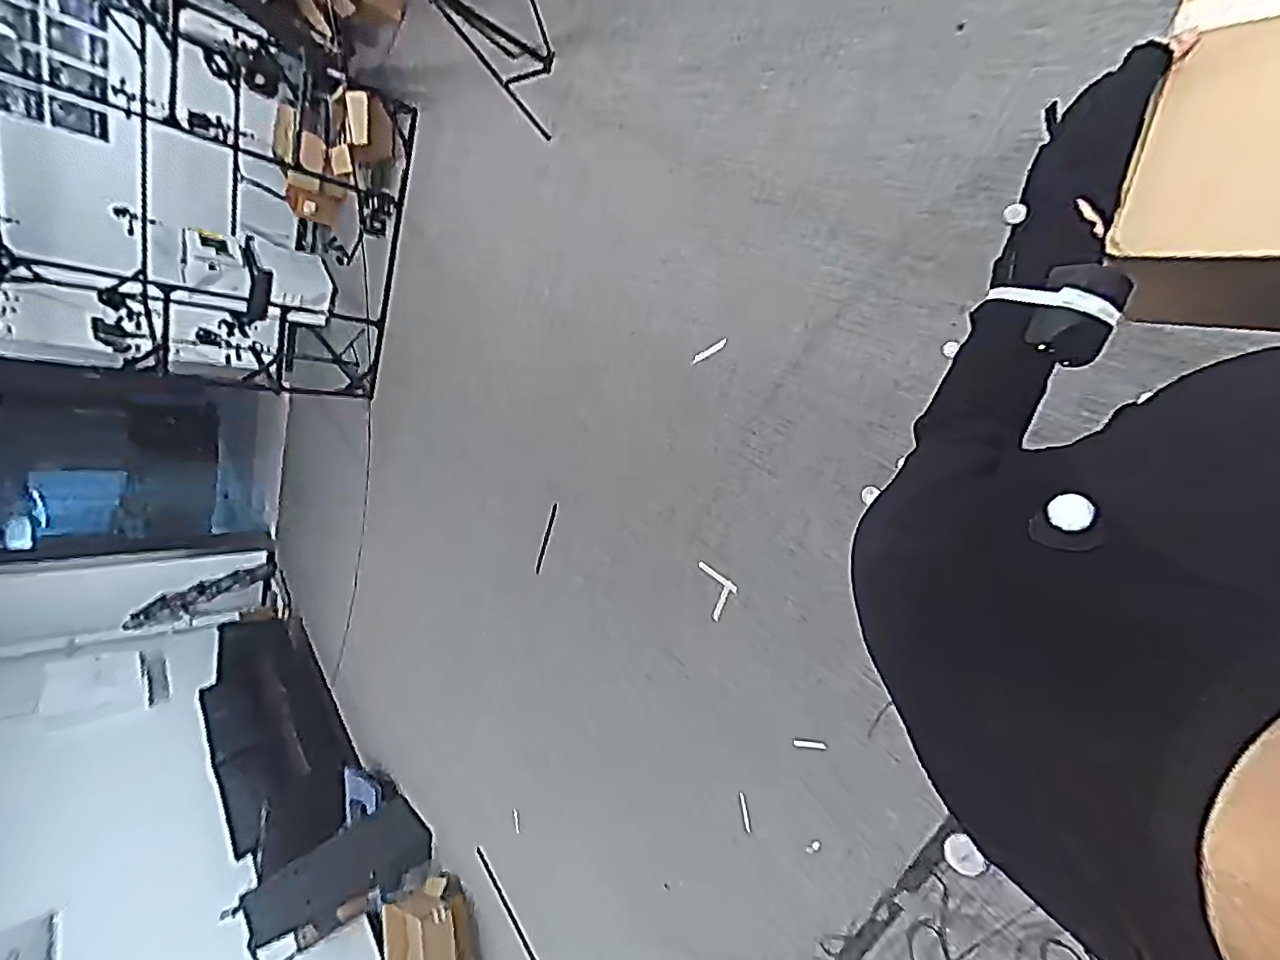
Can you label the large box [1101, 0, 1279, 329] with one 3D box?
[{"bbox_3d":[0.624,-0.280,0.375,0.408,0.320,0.320,20,107,41],"label":"large box"}]
